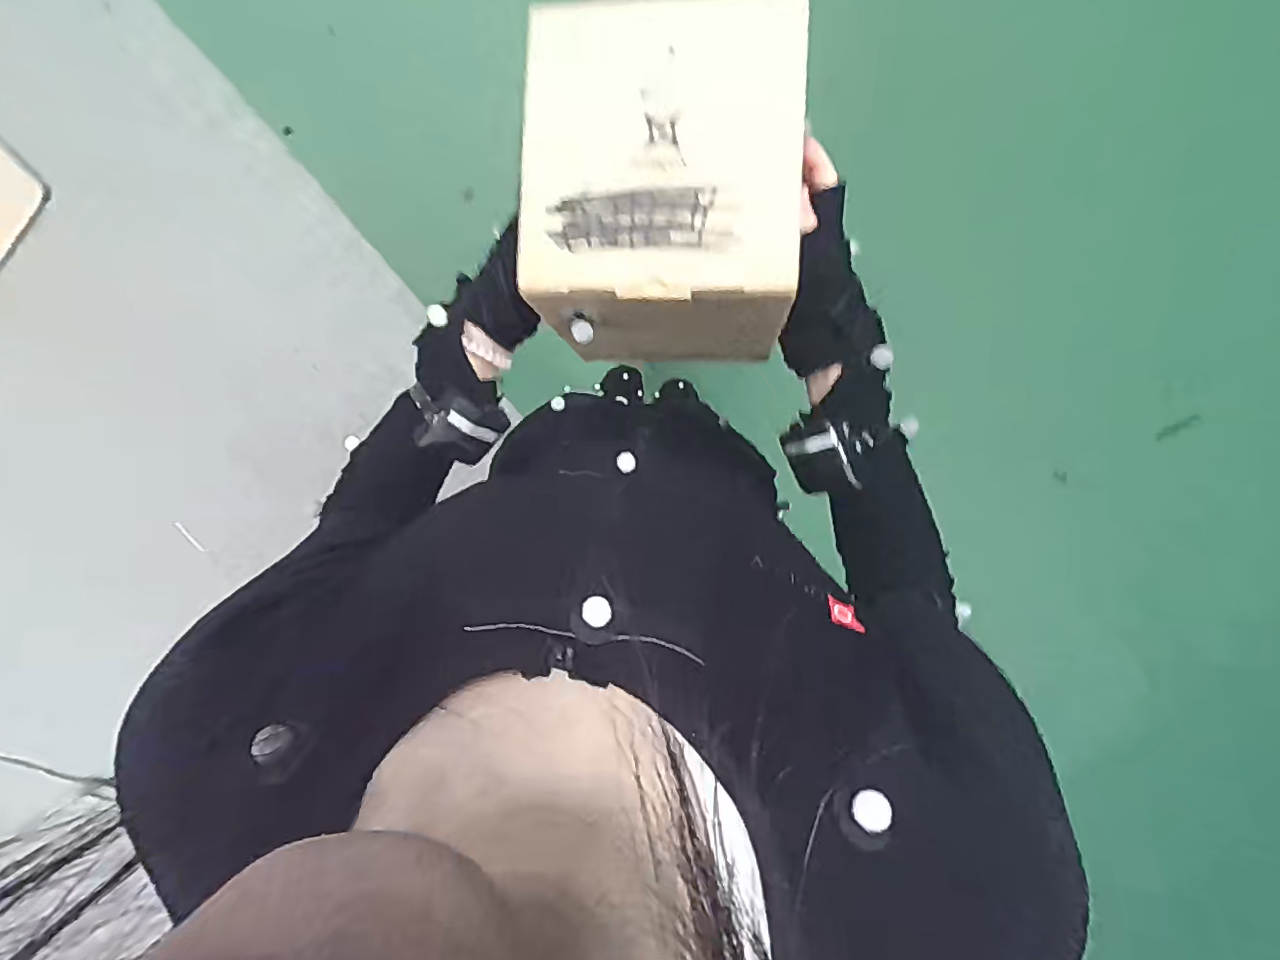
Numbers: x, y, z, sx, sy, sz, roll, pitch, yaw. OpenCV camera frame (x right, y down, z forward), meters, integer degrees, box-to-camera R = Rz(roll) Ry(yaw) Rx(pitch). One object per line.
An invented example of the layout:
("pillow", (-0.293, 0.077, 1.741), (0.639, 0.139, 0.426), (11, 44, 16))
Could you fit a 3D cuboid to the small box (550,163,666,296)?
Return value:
("small box", (-0.063, -0.522, 1.154), (0.179, 0.176, 0.168), (-43, 96, 9))
